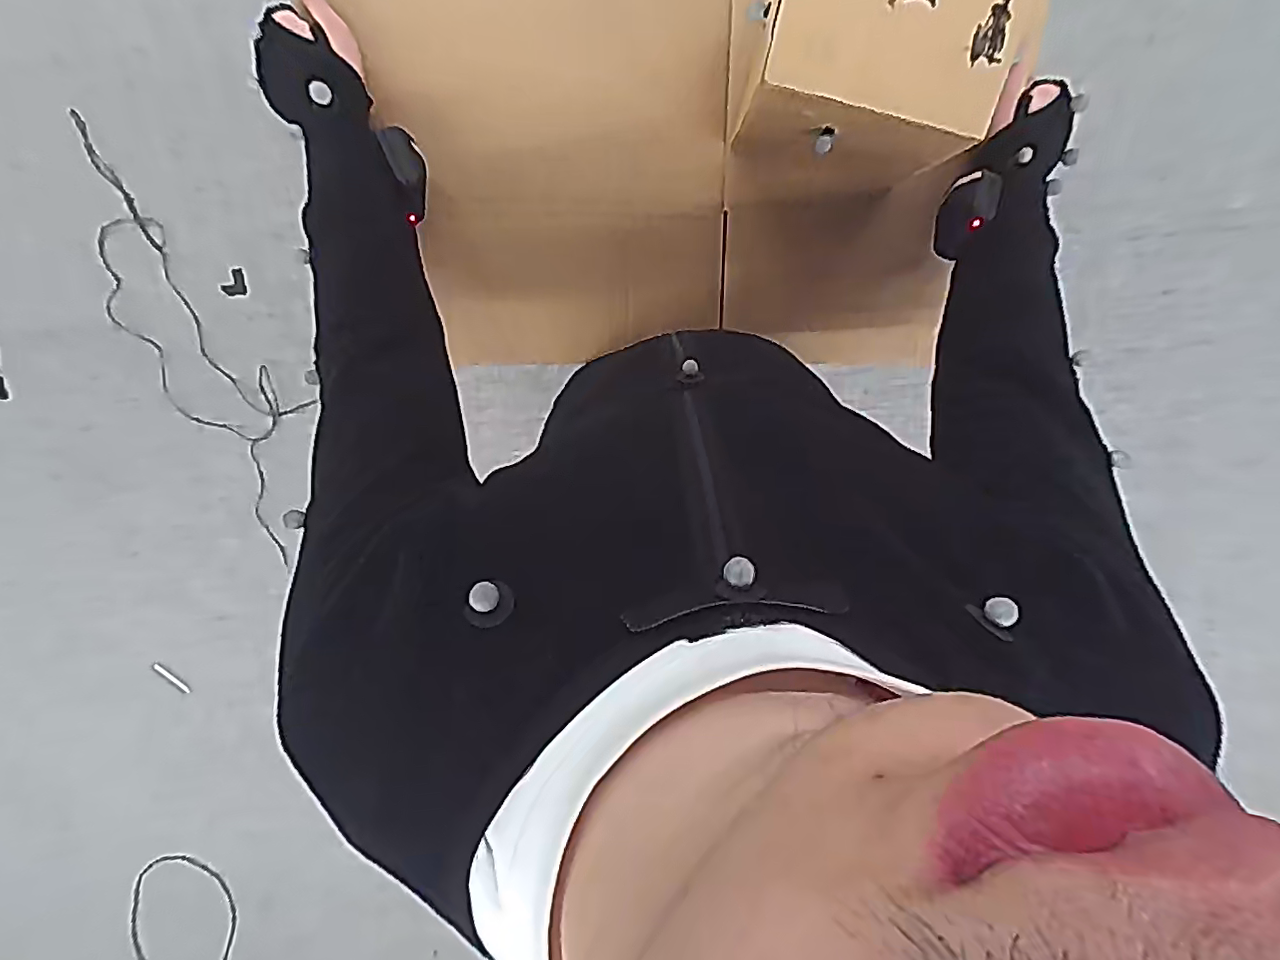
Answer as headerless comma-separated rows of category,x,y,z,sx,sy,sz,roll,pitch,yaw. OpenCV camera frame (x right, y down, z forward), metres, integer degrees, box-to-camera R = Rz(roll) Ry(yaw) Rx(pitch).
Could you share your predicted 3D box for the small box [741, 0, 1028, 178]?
small box,0.195,-0.379,0.459,0.179,0.176,0.168,13,108,-1
